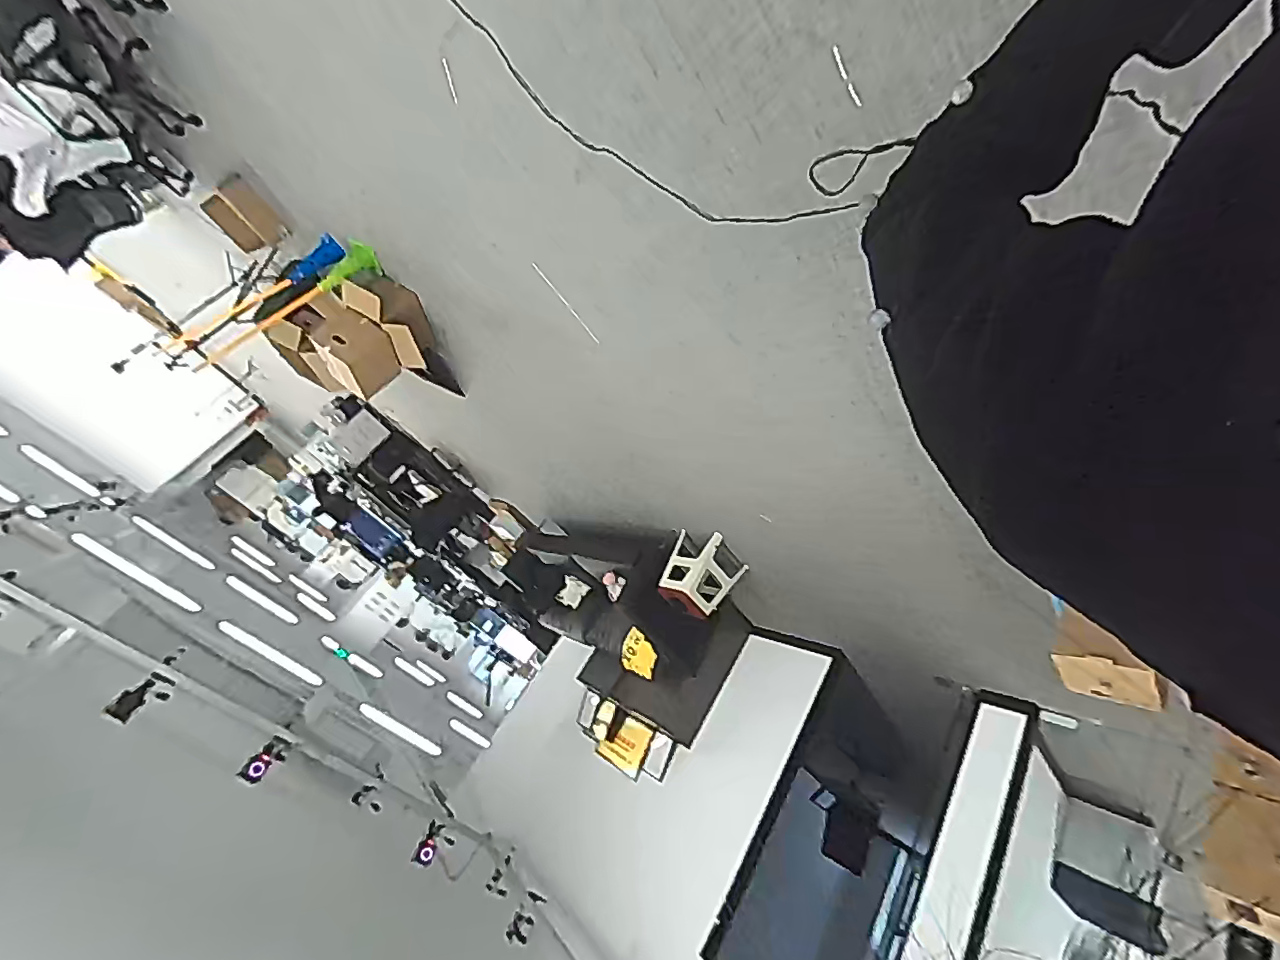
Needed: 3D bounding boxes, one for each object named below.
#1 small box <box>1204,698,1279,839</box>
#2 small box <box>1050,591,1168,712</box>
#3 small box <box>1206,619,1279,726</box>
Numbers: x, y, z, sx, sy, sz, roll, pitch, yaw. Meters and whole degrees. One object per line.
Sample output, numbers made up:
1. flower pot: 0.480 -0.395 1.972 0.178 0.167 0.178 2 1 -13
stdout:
1. small box: 1.105 0.501 0.923 0.179 0.176 0.168 1 139 51
2. small box: 1.024 0.366 1.179 0.168 0.176 0.179 1 139 51
3. small box: 1.186 0.380 0.998 0.179 0.176 0.168 0 139 52
